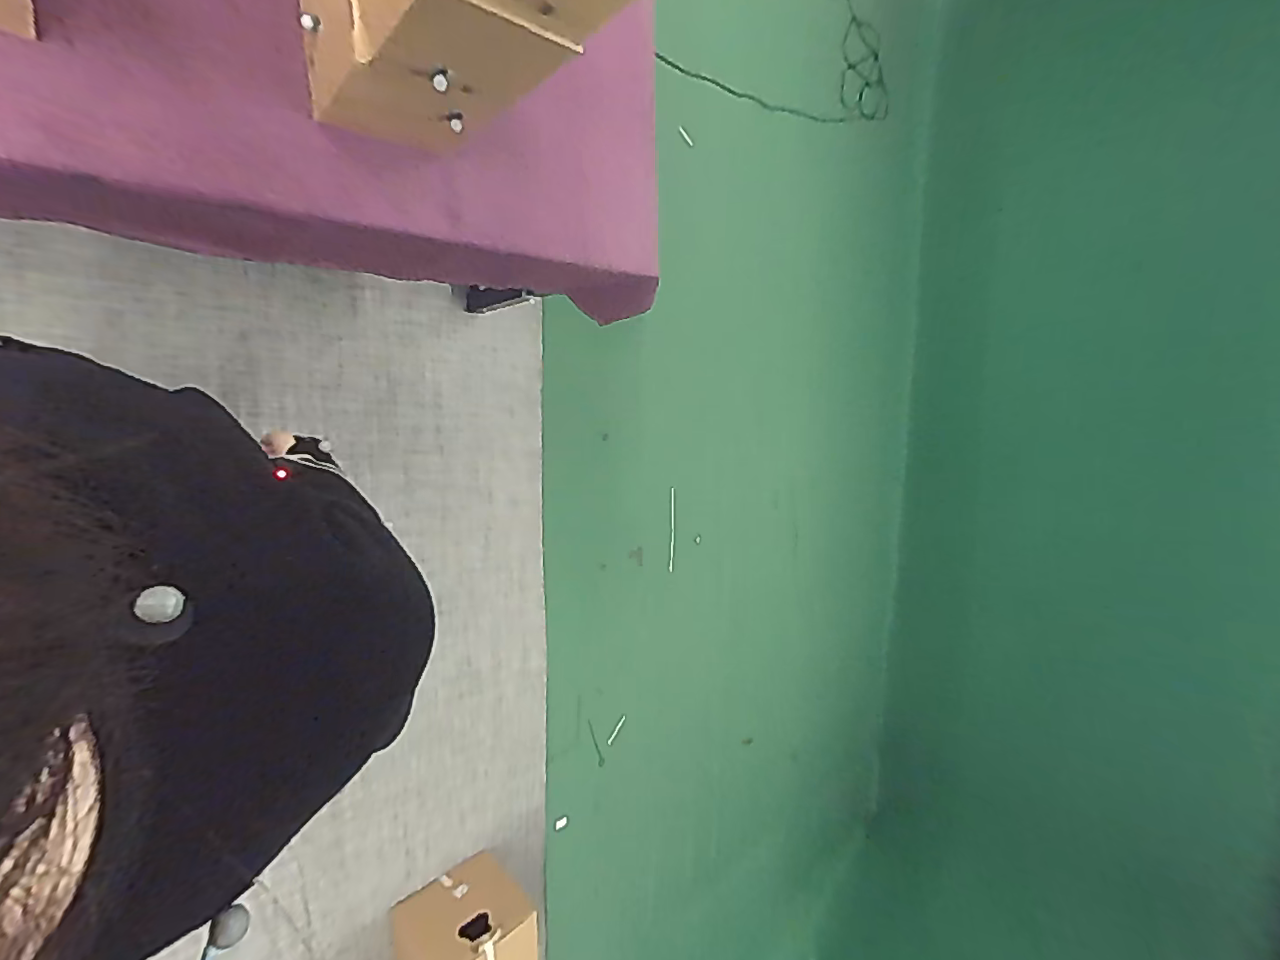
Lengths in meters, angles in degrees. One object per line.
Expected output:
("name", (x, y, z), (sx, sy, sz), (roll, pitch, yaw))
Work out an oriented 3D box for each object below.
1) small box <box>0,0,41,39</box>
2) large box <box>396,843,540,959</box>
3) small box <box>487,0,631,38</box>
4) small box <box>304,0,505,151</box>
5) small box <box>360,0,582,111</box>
("small box", (-0.579, -0.489, 0.397), (0.168, 0.176, 0.179), (-8, 102, -43))
("large box", (-0.520, 1.444, 1.646), (0.320, 0.320, 0.408), (-8, 103, -43))
("small box", (-0.069, -0.513, 0.430), (0.168, 0.176, 0.179), (-15, 106, -41))
("small box", (-0.290, -0.536, 0.668), (0.179, 0.176, 0.168), (-11, 102, -42))
("small box", (-0.178, -0.523, 0.550), (0.168, 0.176, 0.179), (-12, 104, -42))
